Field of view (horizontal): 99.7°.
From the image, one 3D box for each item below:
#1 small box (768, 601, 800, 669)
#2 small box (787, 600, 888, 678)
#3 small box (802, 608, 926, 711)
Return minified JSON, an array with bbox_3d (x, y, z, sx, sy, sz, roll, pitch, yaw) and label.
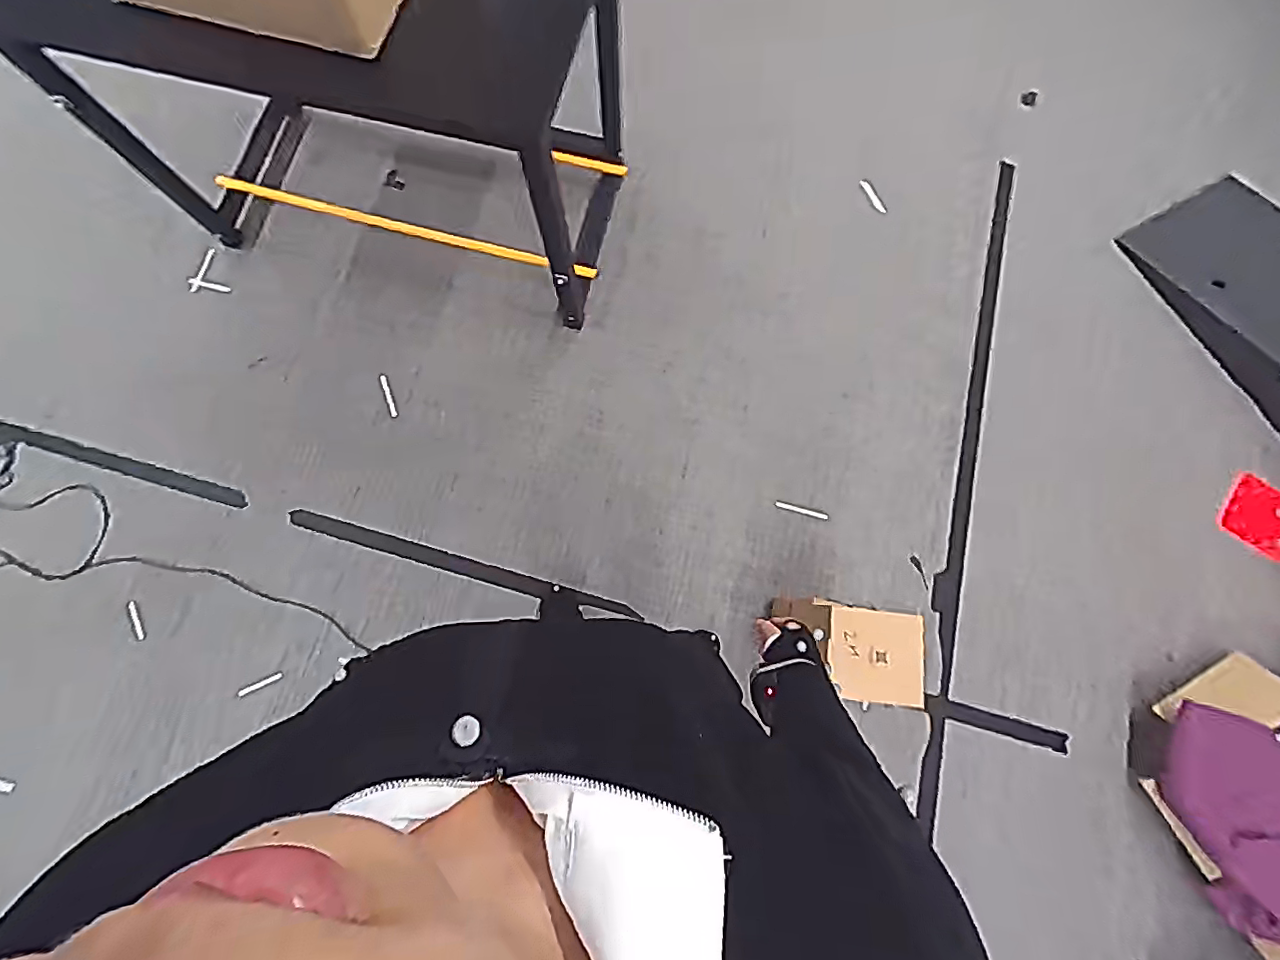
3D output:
[{"bbox_3d":[0.443,0.406,1.397,0.179,0.176,0.168,8,77,3],"label":"small box"},{"bbox_3d":[0.444,0.376,1.235,0.168,0.176,0.179,10,78,3],"label":"small box"},{"bbox_3d":[0.438,0.347,1.072,0.179,0.176,0.168,6,77,2],"label":"small box"}]
